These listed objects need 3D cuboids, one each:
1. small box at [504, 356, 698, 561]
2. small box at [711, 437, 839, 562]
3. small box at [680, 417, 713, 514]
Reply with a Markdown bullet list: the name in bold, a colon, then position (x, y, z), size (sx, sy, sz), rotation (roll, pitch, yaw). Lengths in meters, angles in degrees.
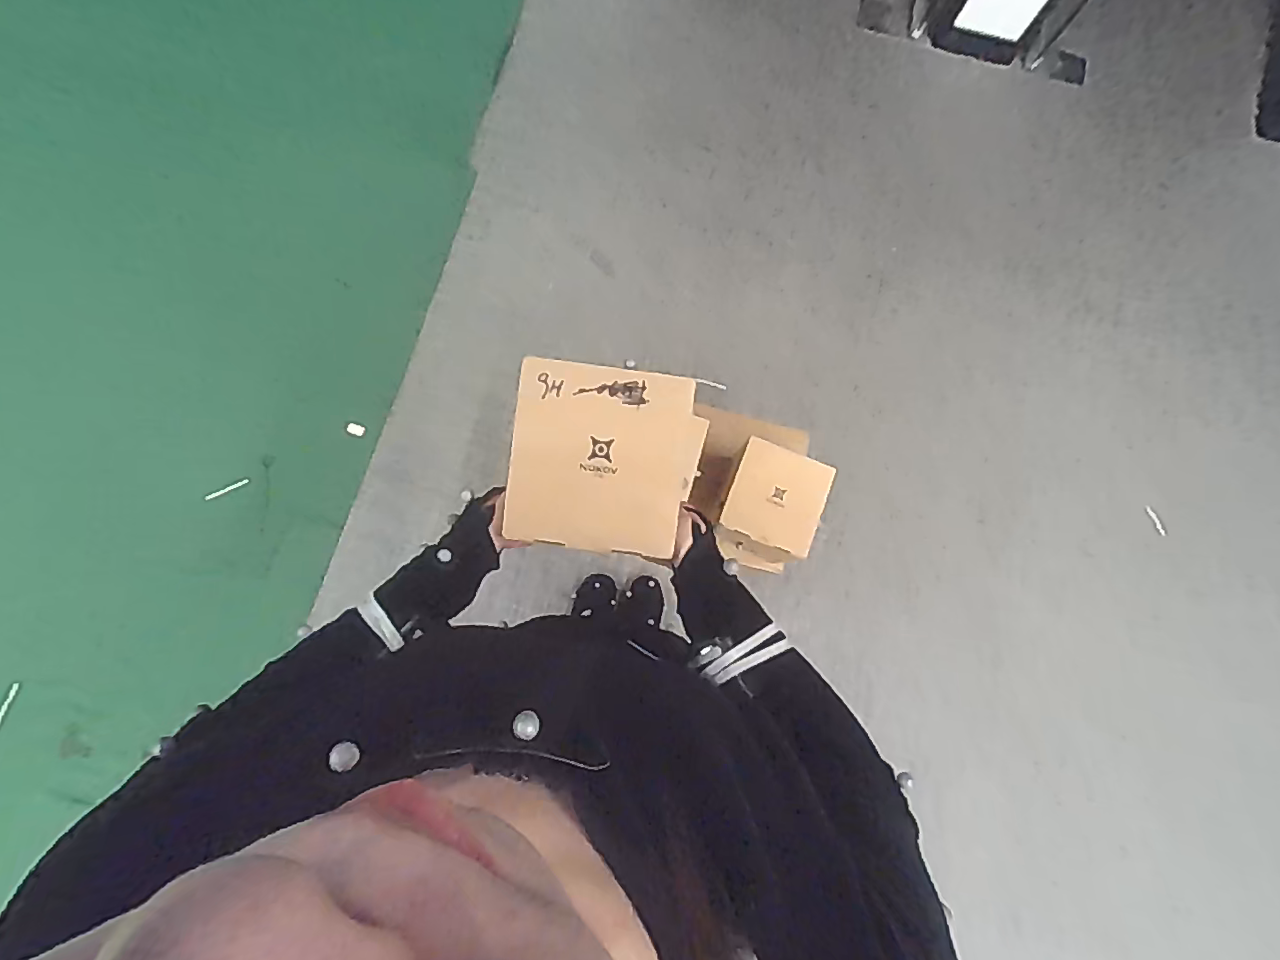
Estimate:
- **small box**: position (-0.039, -0.023, 0.586), size (0.168, 0.176, 0.179), rotation (7, 92, -3)
- **small box**: position (0.244, 0.045, 1.020), size (0.168, 0.176, 0.179), rotation (22, 80, 2)
- **small box**: position (0.023, -0.033, 1.025), size (0.168, 0.176, 0.179), rotation (17, 80, -2)
